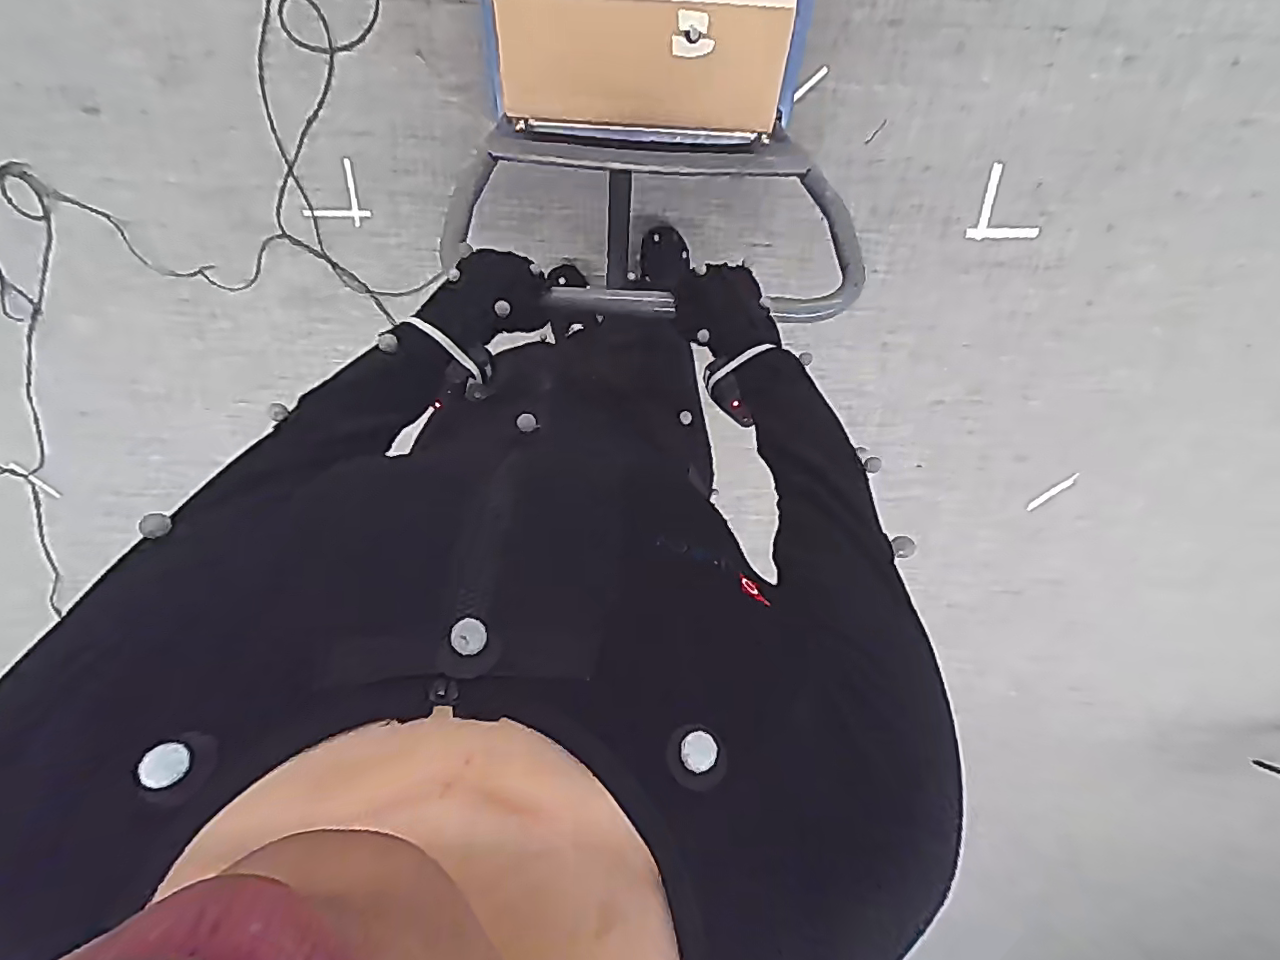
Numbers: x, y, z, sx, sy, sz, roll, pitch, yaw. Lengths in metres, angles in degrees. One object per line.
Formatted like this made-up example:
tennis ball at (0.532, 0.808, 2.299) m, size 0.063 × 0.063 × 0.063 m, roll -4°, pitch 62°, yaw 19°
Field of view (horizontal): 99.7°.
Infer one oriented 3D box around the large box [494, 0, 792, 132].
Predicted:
large box at (-0.001, -0.743, 0.817) m, size 0.408 × 0.320 × 0.320 m, roll 1°, pitch 134°, yaw -3°
